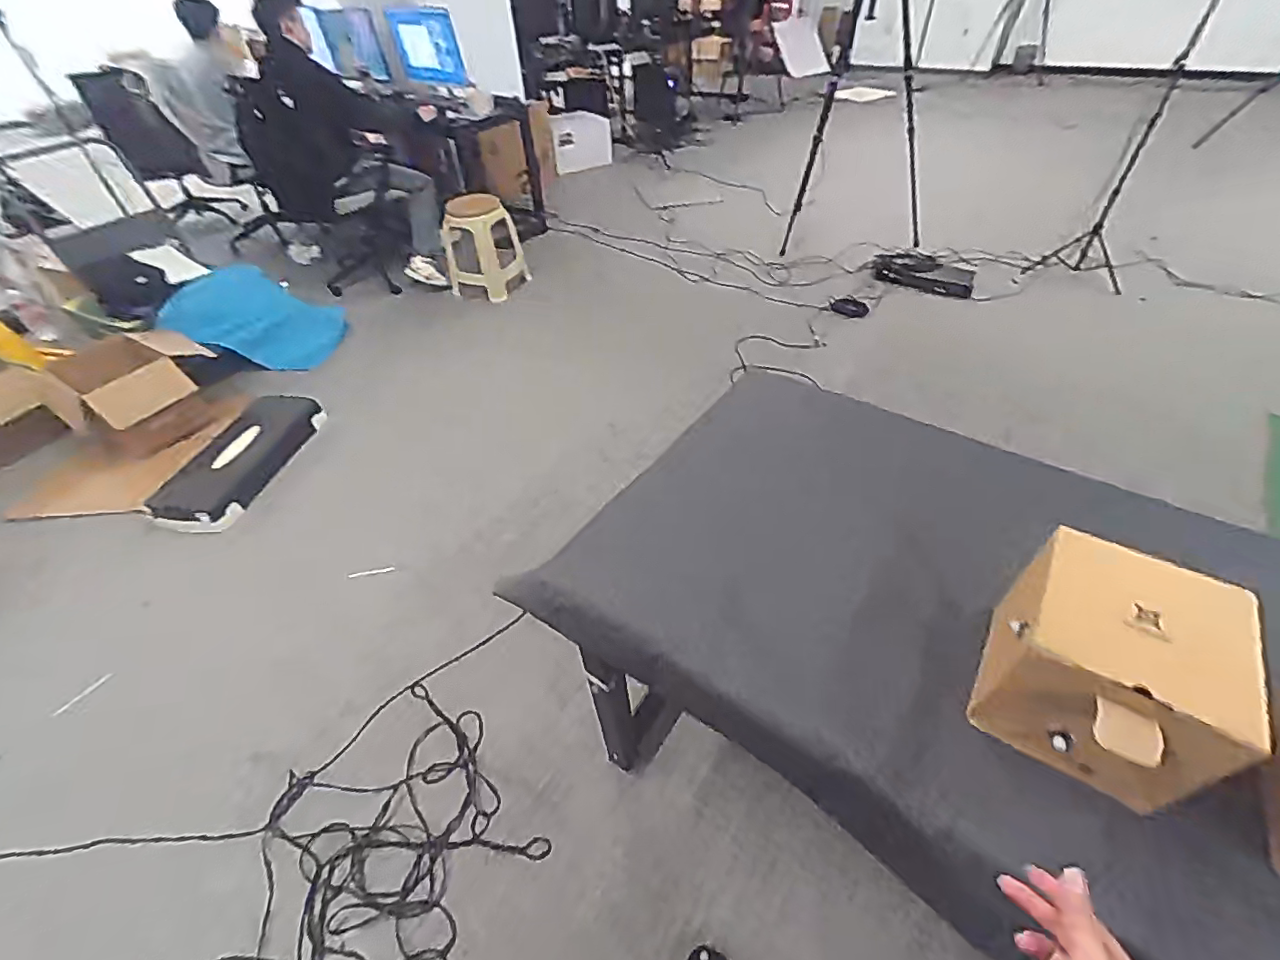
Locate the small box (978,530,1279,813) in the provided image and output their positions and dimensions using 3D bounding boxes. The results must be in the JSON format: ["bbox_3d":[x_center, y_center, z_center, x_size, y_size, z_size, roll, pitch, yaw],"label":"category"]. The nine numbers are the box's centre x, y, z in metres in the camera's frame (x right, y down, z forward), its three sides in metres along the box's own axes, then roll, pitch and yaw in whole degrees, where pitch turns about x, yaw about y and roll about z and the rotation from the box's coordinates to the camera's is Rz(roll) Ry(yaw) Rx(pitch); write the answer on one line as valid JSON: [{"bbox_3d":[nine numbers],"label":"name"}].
[{"bbox_3d":[0.475,0.191,0.550,0.168,0.176,0.179,24,51,26],"label":"small box"}]
